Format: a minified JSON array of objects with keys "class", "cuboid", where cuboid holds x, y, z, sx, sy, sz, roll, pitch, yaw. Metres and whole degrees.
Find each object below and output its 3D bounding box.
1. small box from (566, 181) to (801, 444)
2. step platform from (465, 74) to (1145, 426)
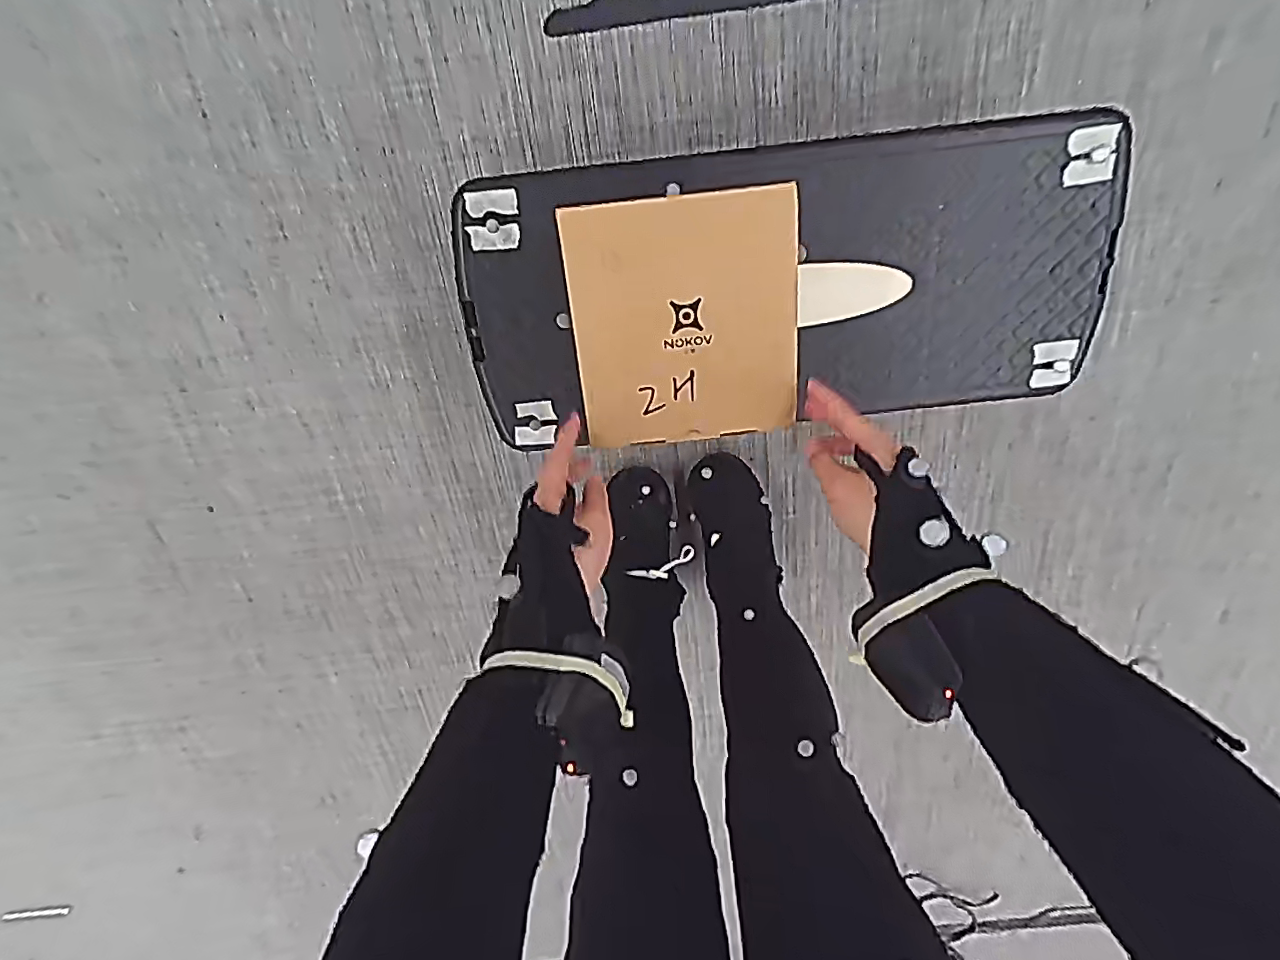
[{"class":"small box","cuboid":[0.033,-0.145,0.471,0.168,0.176,0.179,-5,113,1]},{"class":"step platform","cuboid":[0.160,-0.245,0.622,0.684,0.204,0.286,-6,112,2]}]
